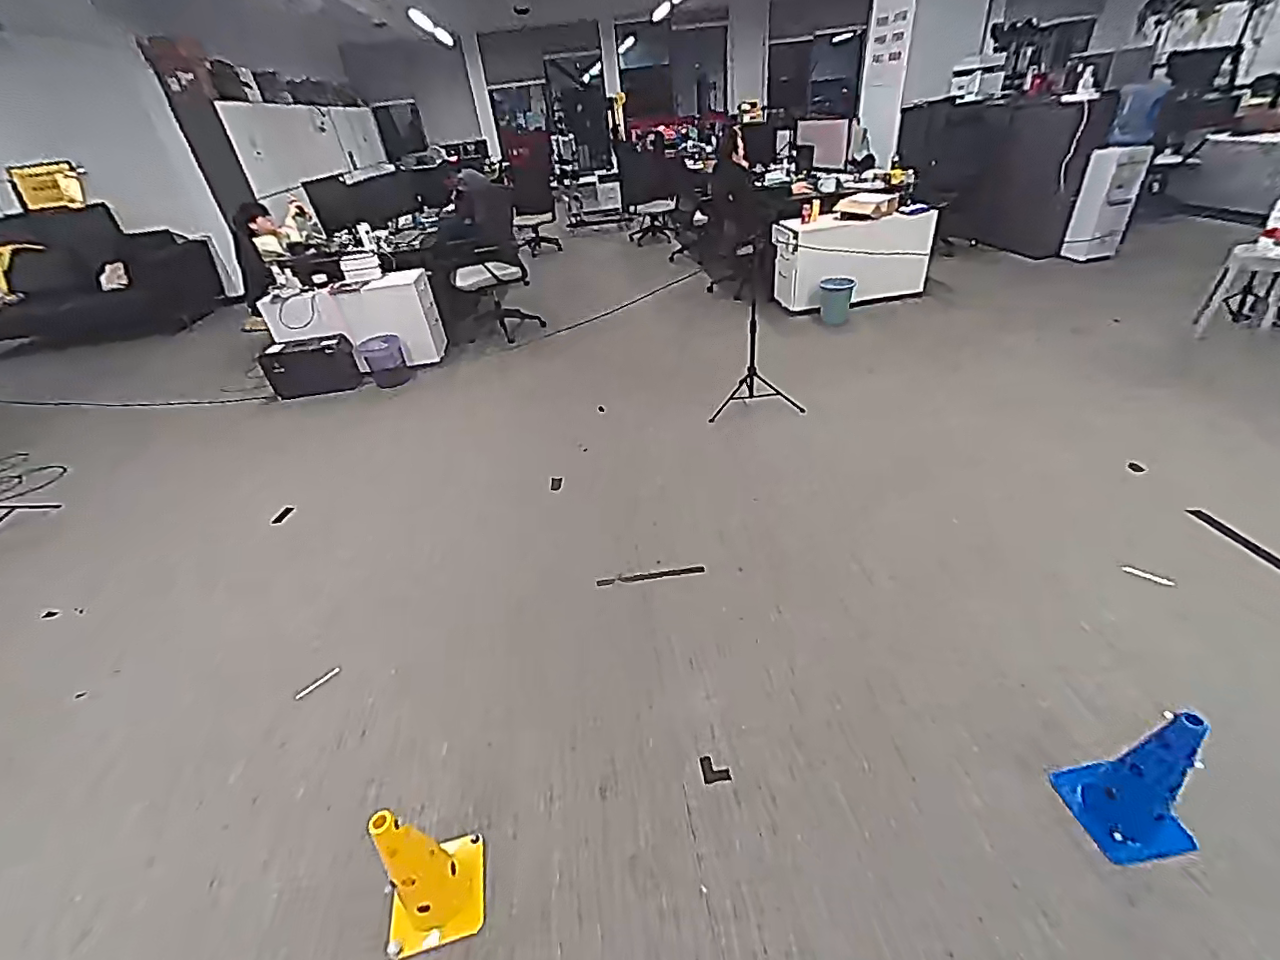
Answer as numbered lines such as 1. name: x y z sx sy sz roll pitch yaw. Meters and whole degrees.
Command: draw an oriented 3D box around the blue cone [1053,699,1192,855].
1. blue cone: 1.058 0.596 1.129 0.193 0.380 0.192 -9 33 -2
